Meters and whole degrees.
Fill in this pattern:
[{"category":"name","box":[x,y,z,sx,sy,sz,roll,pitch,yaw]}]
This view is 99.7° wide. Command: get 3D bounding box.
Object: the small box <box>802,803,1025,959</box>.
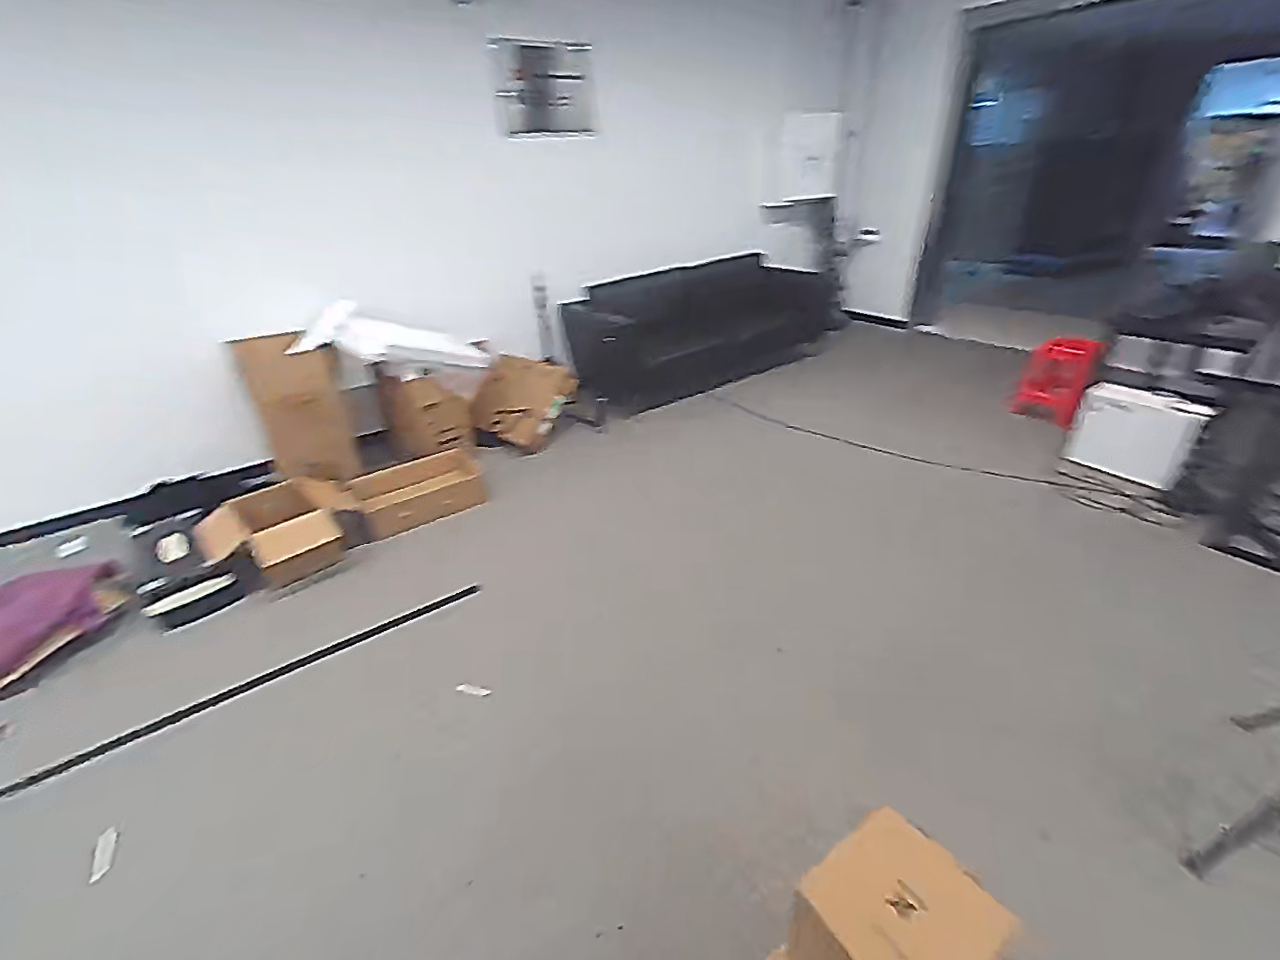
[{"category":"small box","box":[0.308,0.544,0.644,0.179,0.176,0.168,-22,32,-24]}]
